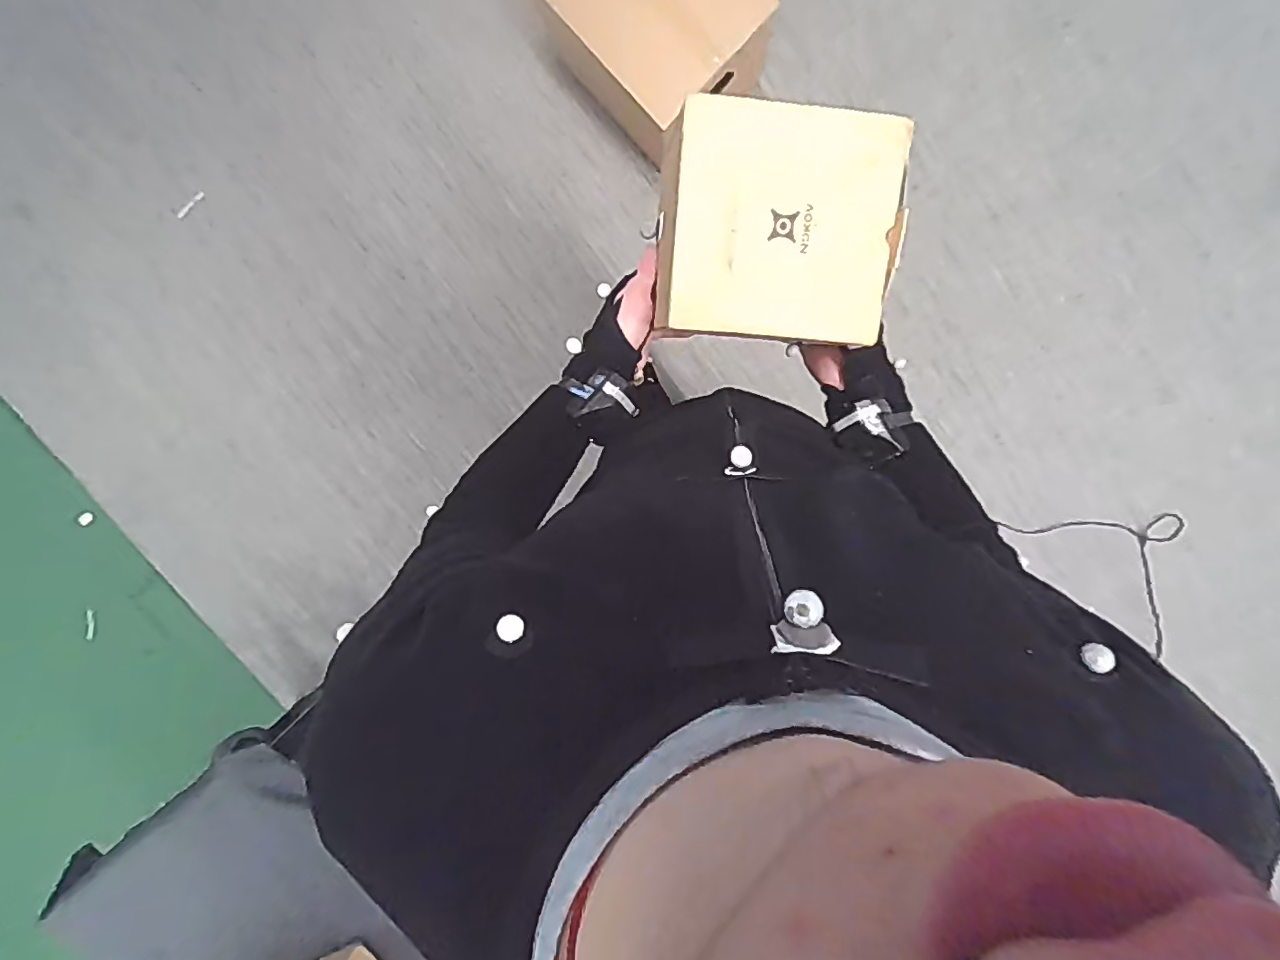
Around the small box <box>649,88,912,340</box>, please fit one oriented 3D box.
[{"bbox_3d":[0.106,-0.218,0.491,0.179,0.176,0.168,3,104,-4],"label":"small box"}]
